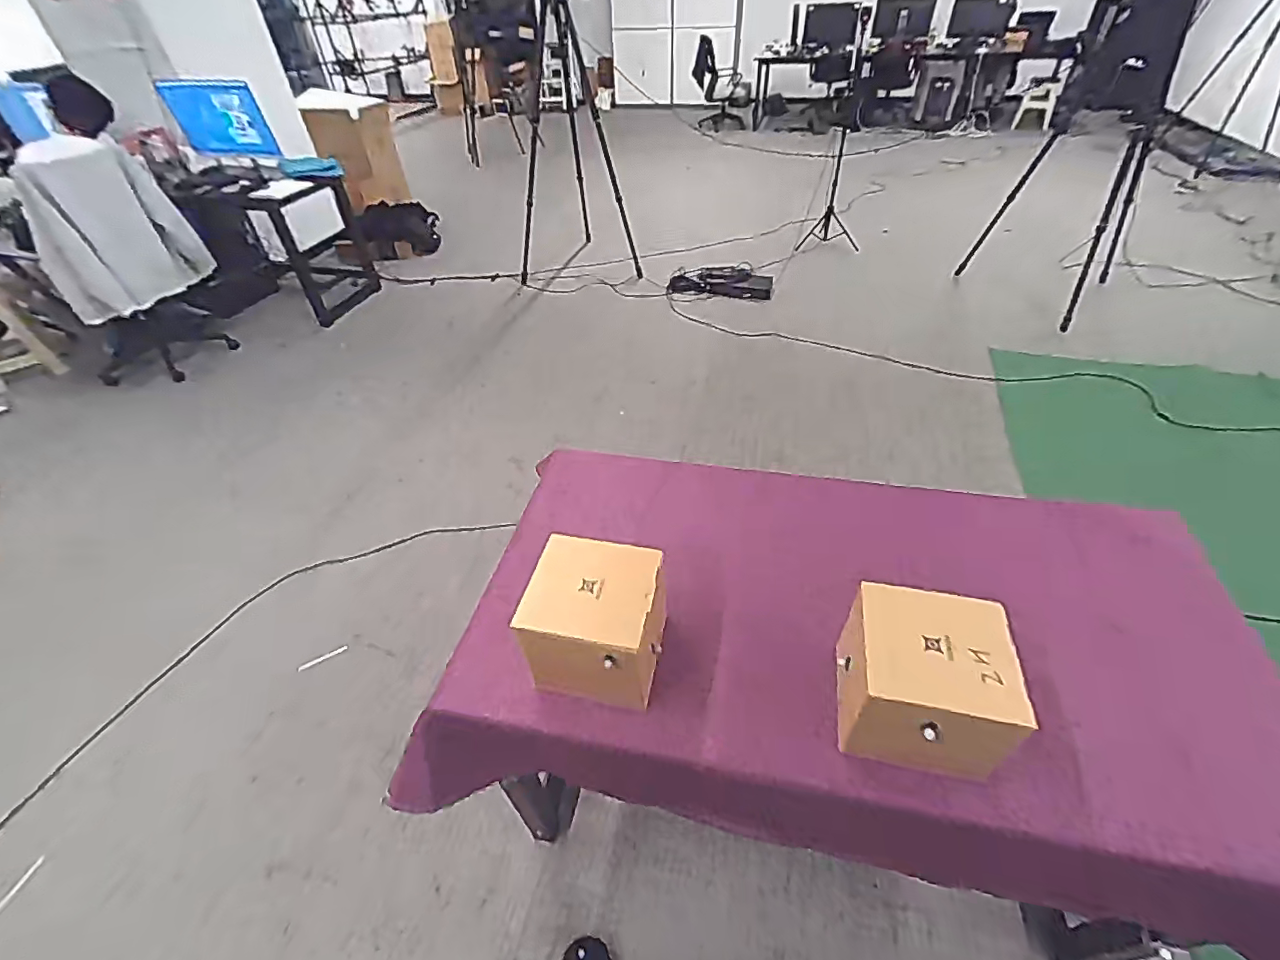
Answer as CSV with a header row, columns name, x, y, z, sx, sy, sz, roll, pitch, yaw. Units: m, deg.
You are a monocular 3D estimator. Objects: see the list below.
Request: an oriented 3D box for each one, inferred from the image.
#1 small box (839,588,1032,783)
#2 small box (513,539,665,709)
name,x,y,z,sx,sy,sz,roll,pitch,yaw
small box,0.365,0.270,0.711,0.179,0.176,0.168,8,44,12
small box,-0.063,0.213,0.797,0.179,0.176,0.168,8,43,10
